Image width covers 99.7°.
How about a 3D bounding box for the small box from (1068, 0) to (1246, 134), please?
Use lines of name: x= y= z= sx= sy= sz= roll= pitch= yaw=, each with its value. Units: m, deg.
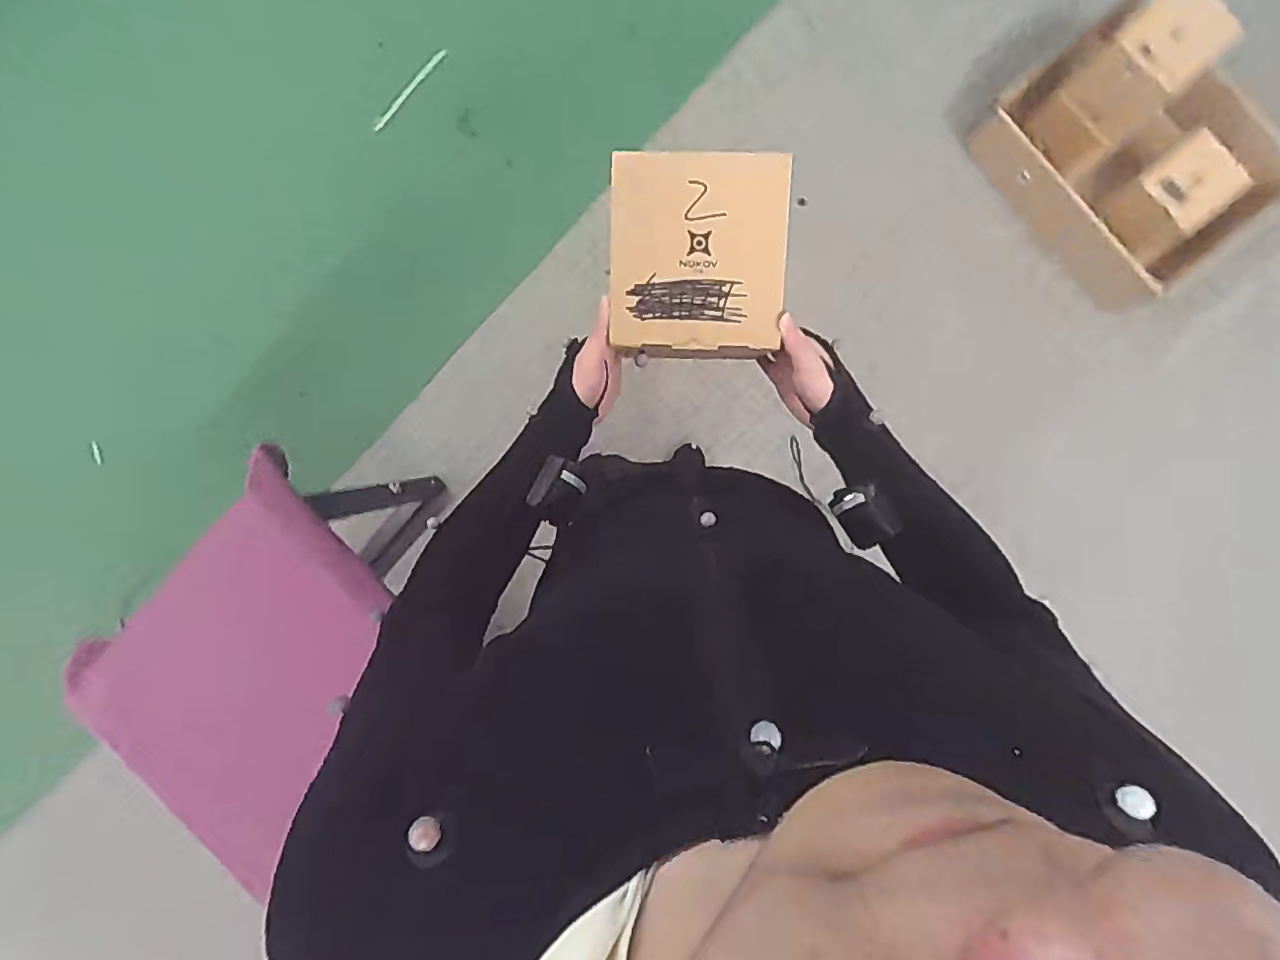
small box: x=1.076 y=-0.893 z=1.144 sx=0.179 sy=0.176 sz=0.168 roll=-43 pitch=87 yaw=6
